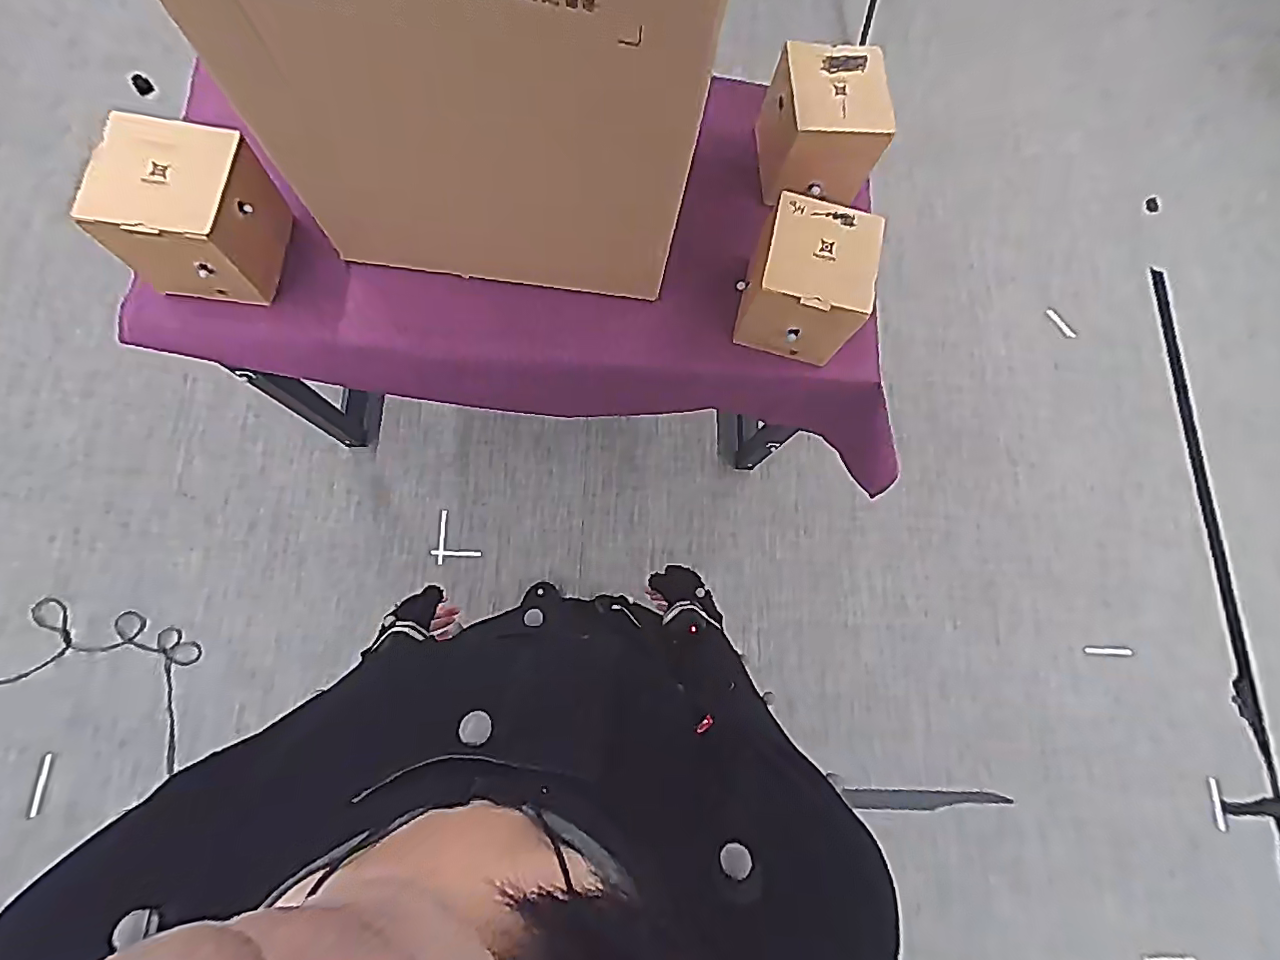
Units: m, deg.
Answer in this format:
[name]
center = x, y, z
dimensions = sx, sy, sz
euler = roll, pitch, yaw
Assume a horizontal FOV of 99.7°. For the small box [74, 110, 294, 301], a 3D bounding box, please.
[small box]
center = -0.643, -0.388, 0.792
dimensions = 0.168, 0.176, 0.179
euler = 6, 74, -8
